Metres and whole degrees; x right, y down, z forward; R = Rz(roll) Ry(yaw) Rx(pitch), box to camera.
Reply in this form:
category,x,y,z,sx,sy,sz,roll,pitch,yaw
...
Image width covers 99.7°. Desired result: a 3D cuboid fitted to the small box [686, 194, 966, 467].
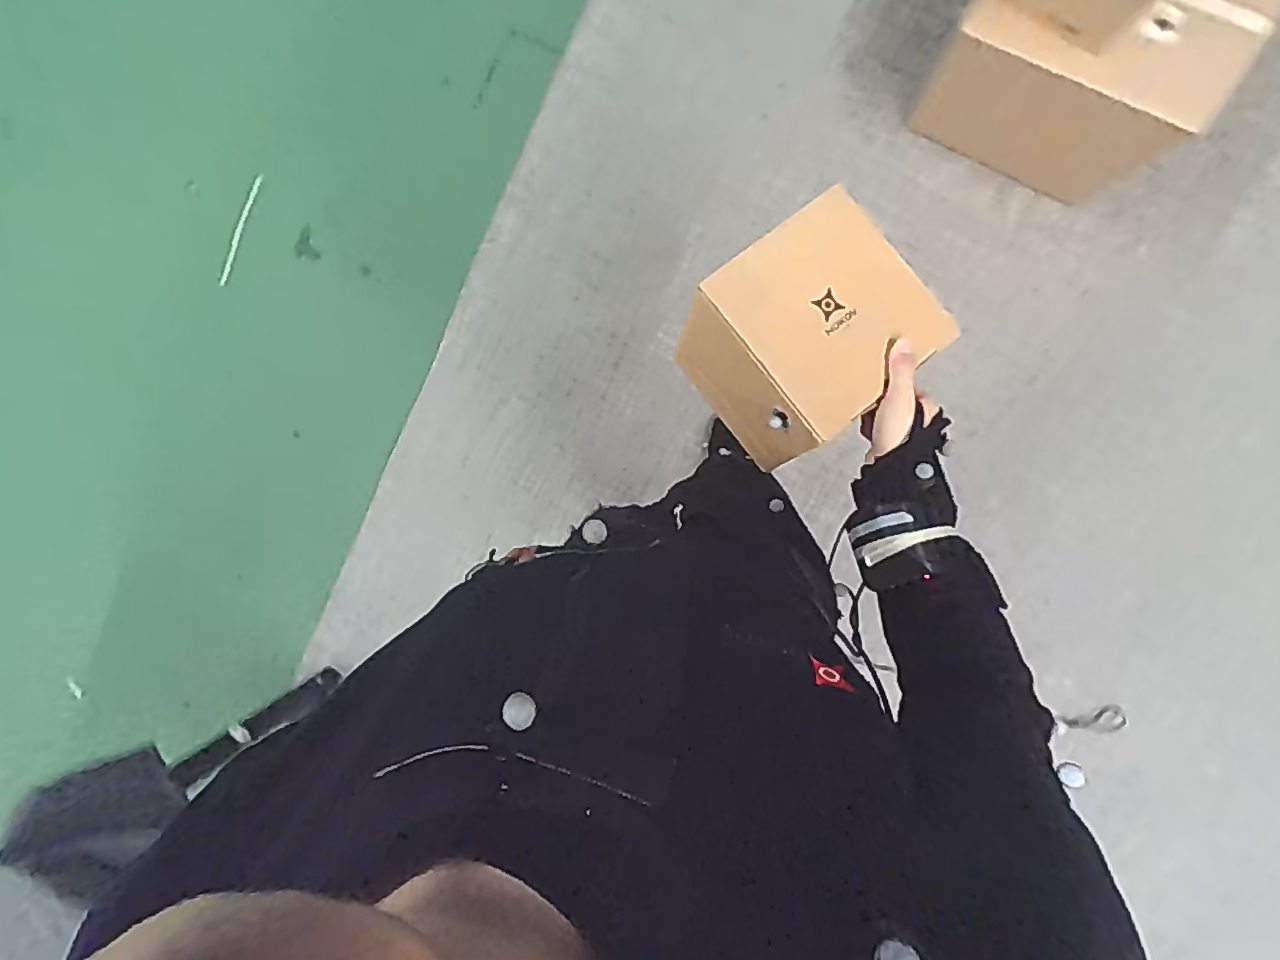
category,x,y,z,sx,sy,sz,roll,pitch,yaw
small box,0.166,-0.133,0.547,0.168,0.176,0.179,-36,87,-9

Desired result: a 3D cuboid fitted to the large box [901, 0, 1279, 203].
category,x,y,z,sx,sy,sz,roll,pitch,yaw
large box,0.772,-0.778,0.974,0.408,0.320,0.320,28,102,4
